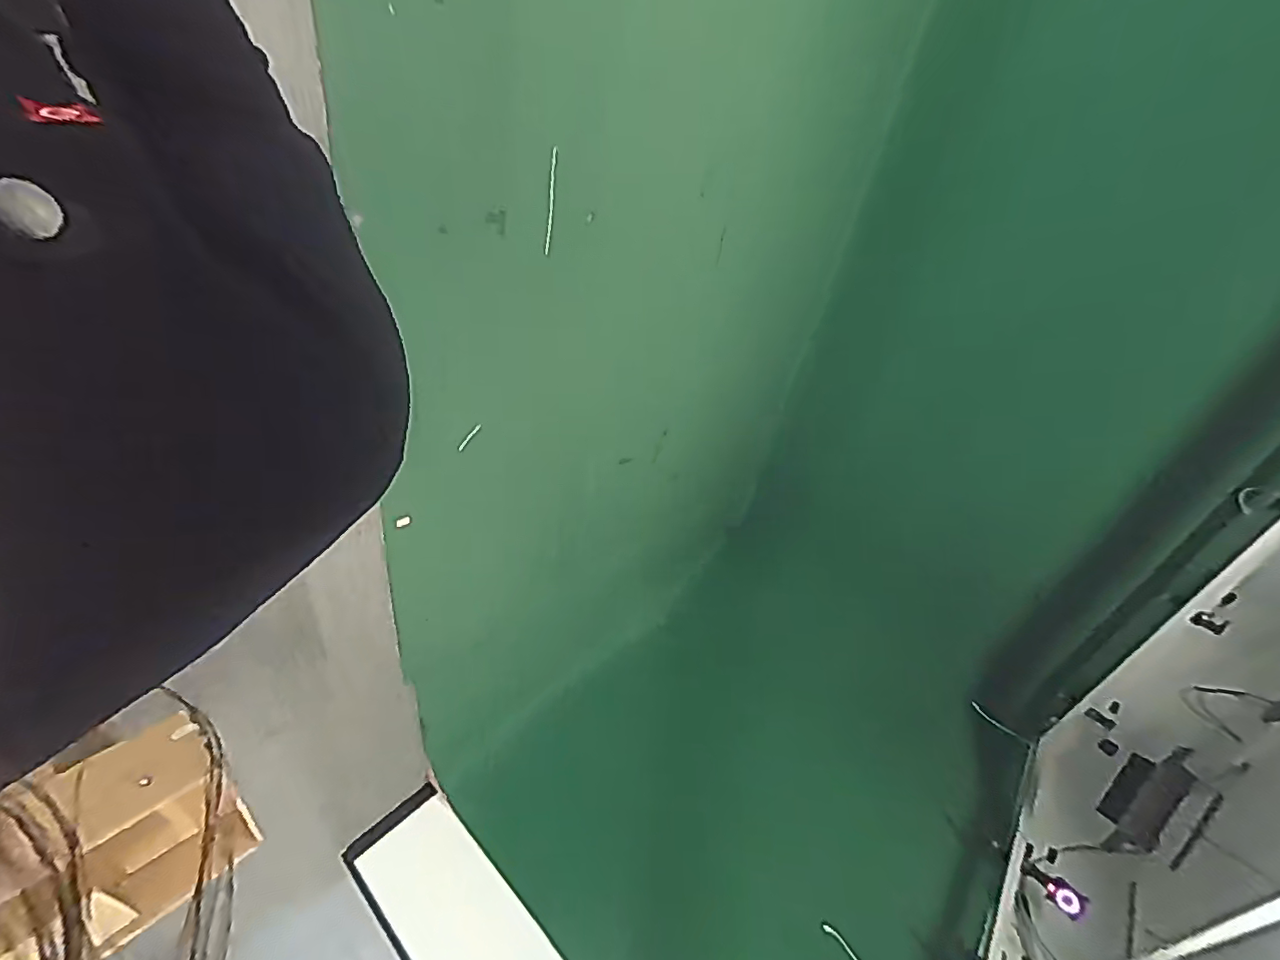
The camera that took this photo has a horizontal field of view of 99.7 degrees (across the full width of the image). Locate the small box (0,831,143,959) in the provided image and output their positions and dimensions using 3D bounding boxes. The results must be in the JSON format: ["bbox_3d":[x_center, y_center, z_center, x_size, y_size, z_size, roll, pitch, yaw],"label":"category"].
[{"bbox_3d":[-1.136,0.838,1.059,0.168,0.176,0.179,-33,143,-39],"label":"small box"}]
